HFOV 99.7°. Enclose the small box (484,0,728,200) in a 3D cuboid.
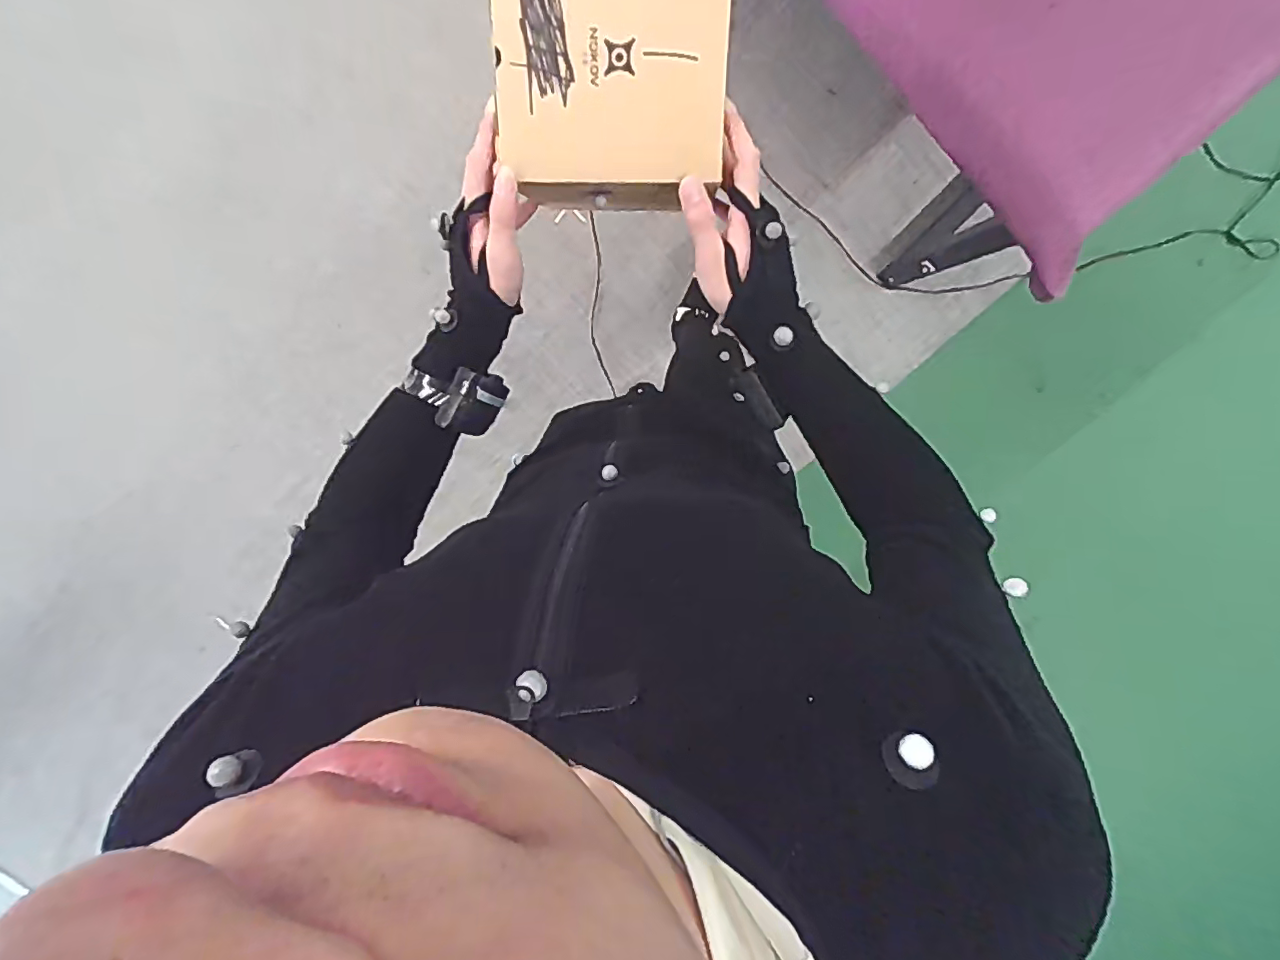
[{"bbox_3d":[-0.020,-0.343,0.461,0.179,0.176,0.168,2,110,2],"label":"small box"}]
